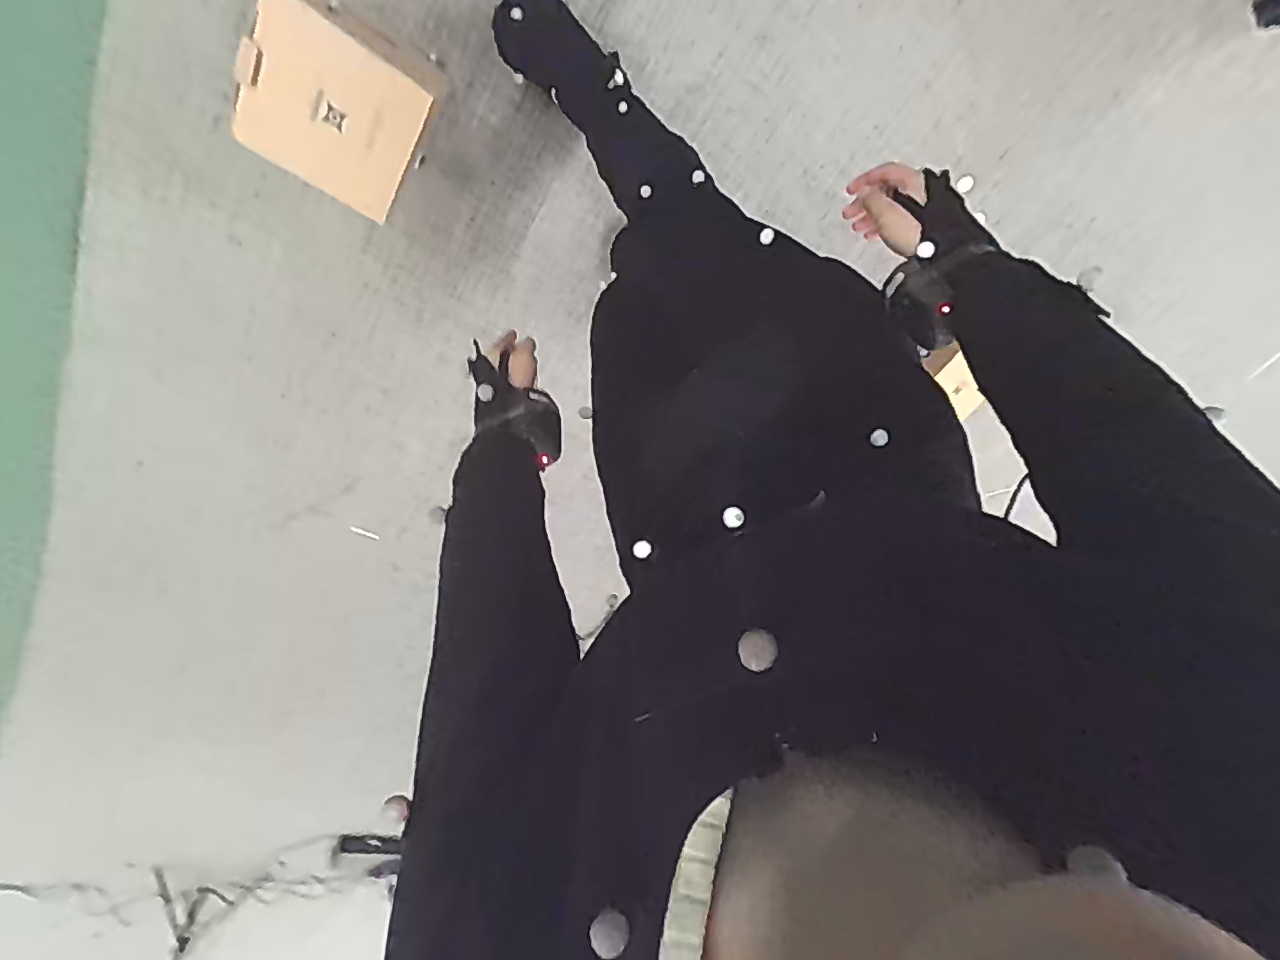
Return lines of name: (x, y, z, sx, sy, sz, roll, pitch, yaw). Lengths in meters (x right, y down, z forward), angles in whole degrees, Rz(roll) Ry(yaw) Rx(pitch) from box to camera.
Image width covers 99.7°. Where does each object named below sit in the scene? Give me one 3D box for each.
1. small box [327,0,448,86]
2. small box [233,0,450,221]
small box: (-0.399, -0.565, 0.798, 0.168, 0.176, 0.179, 27, 119, -28)
small box: (-0.359, -0.464, 0.676, 0.179, 0.176, 0.168, 24, 121, -27)
